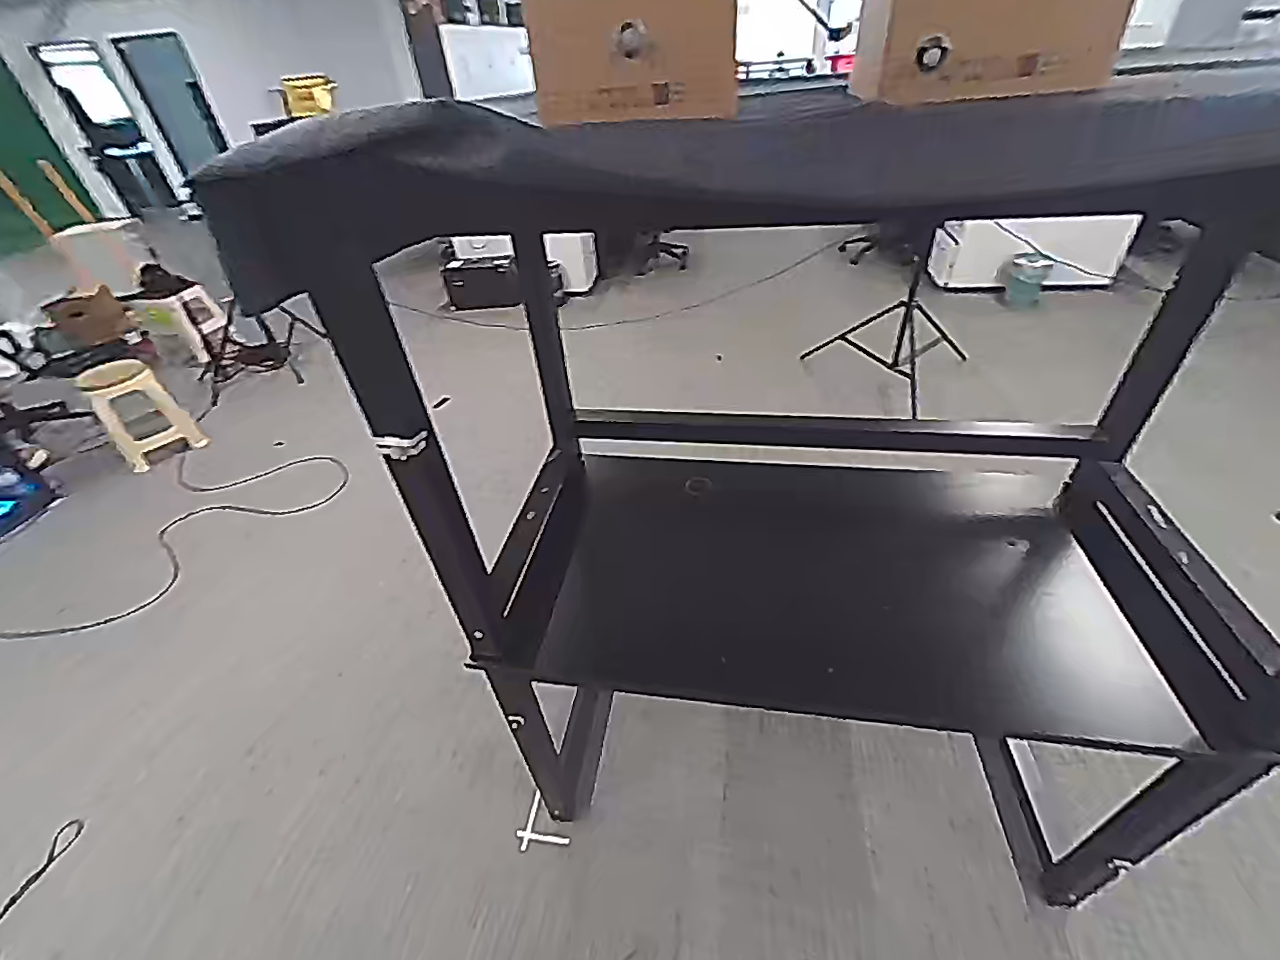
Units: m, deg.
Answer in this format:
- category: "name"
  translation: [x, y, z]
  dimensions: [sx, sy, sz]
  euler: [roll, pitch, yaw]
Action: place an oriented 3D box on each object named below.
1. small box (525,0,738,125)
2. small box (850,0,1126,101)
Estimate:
- category: "small box"
  translation: [-0.007, -0.416, 0.469]
  dimensions: [0.168, 0.176, 0.179]
  euler: [-3, 37, 3]
- category: "small box"
  translation: [0.277, -0.416, 0.438]
  dimensions: [0.168, 0.176, 0.179]
  euler: [2, 37, 9]
